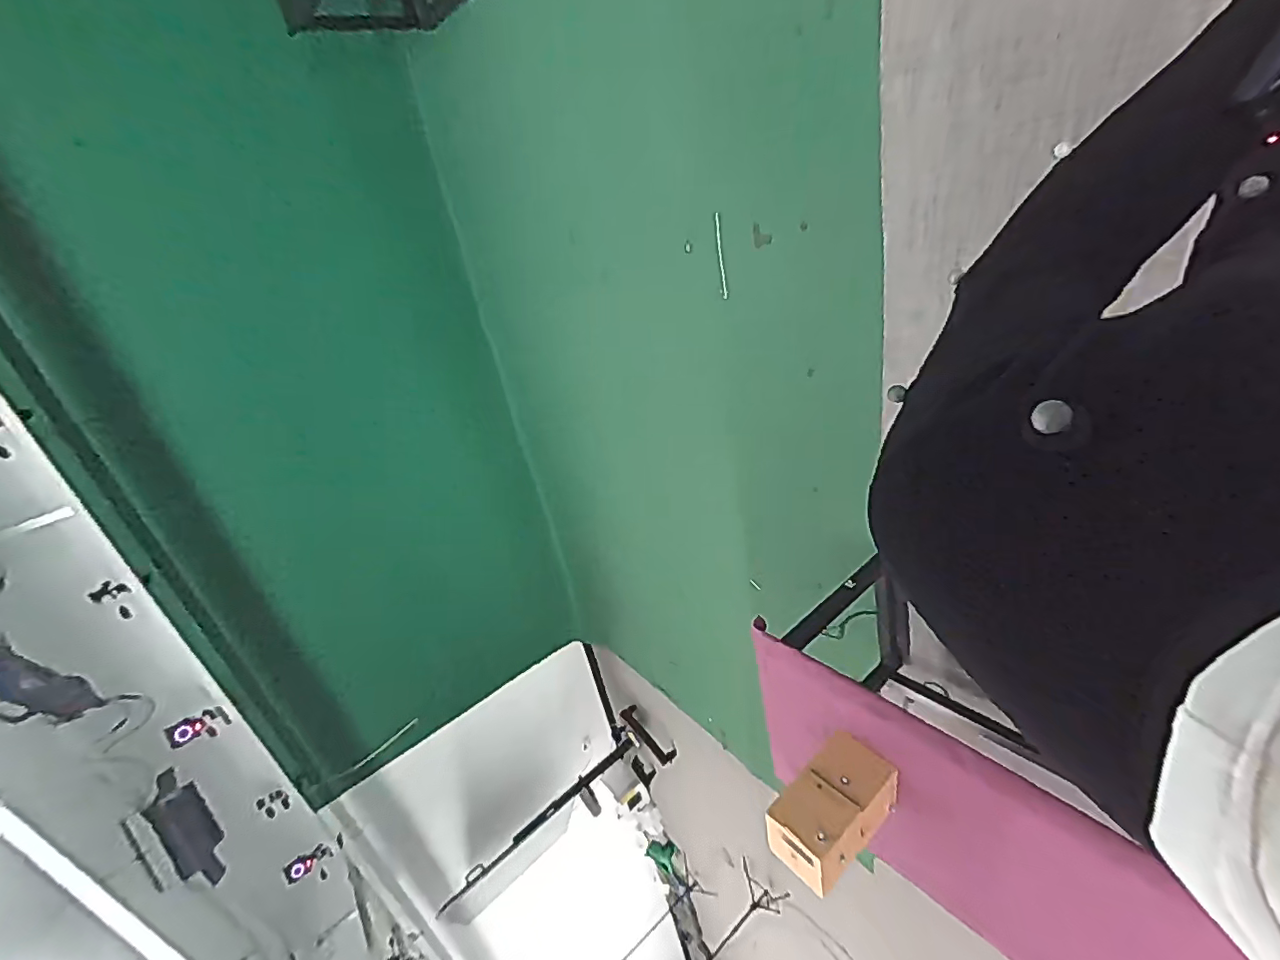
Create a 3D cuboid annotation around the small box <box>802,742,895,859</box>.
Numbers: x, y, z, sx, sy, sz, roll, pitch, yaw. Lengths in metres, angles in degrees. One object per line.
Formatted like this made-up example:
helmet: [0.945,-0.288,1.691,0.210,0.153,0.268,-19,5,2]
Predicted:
small box: [0.560,0.849,1.450,0.179,0.176,0.168,23,132,48]
